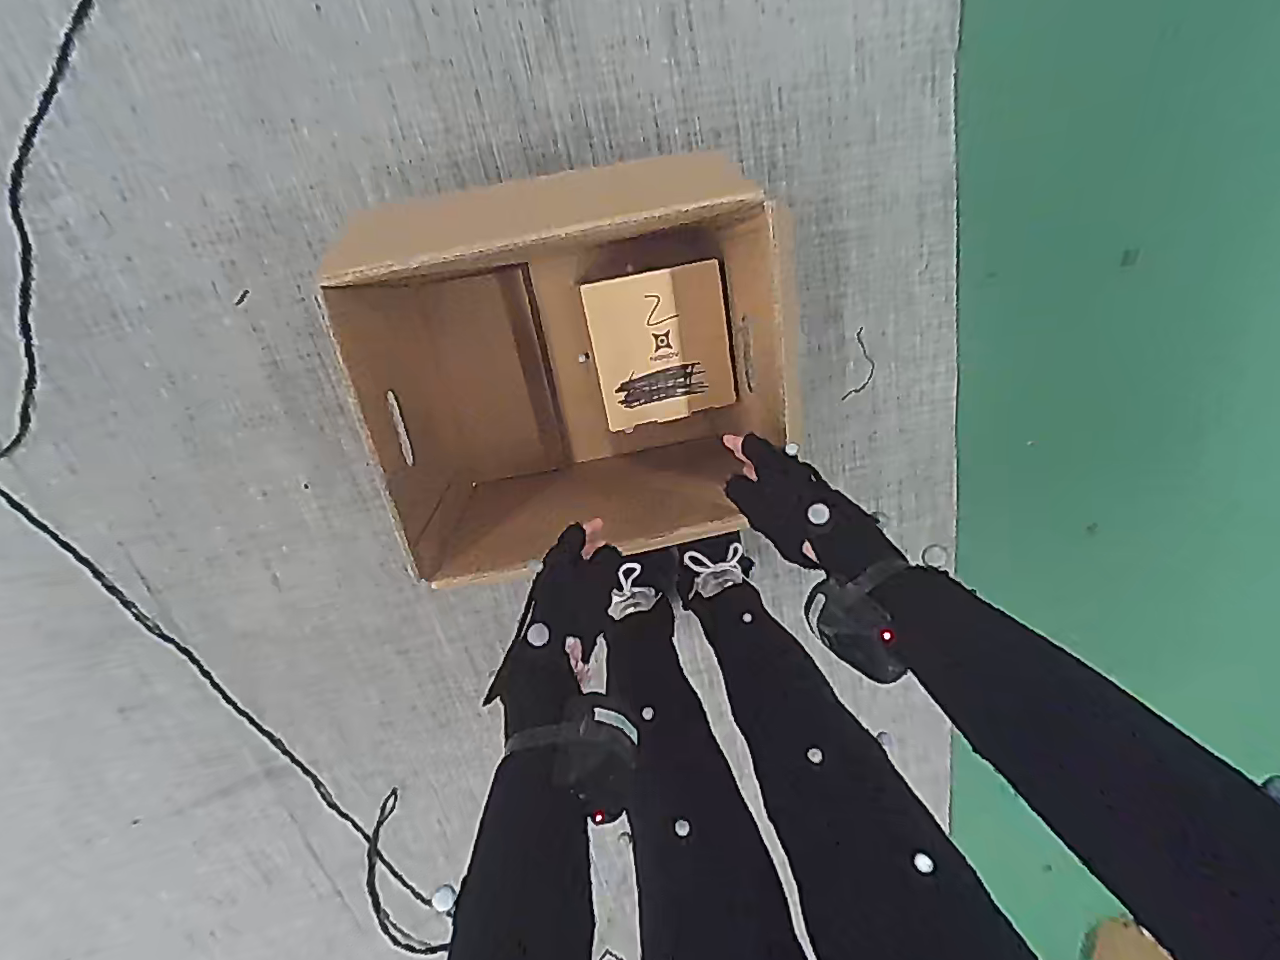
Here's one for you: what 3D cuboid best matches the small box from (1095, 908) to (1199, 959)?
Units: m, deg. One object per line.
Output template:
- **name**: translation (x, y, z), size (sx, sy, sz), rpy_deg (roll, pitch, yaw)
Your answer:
- **small box**: translation (1.394, 1.324, 1.474), size (0.168, 0.176, 0.179), rpy_deg (-12, 111, -4)
